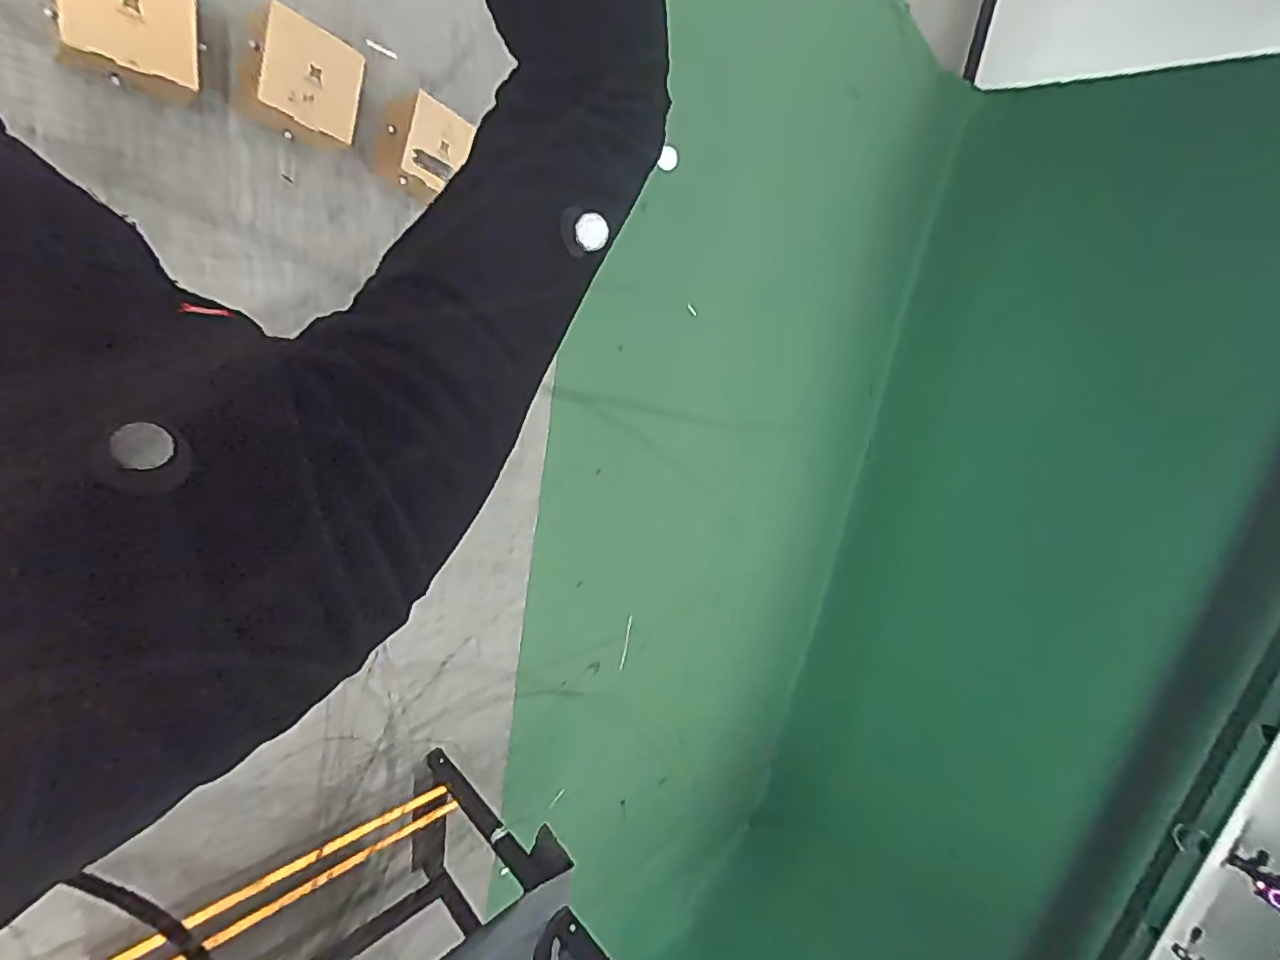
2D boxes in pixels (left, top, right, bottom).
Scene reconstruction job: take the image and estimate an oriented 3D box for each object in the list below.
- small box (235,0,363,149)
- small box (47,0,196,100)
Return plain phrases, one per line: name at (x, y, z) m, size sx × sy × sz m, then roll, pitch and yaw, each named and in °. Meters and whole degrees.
small box at (-0.686, -0.798, 1.083) m, size 0.168 × 0.176 × 0.179 m, roll 5°, pitch 104°, yaw -49°
small box at (-0.861, -0.771, 0.897) m, size 0.168 × 0.176 × 0.179 m, roll -6°, pitch 113°, yaw -47°
